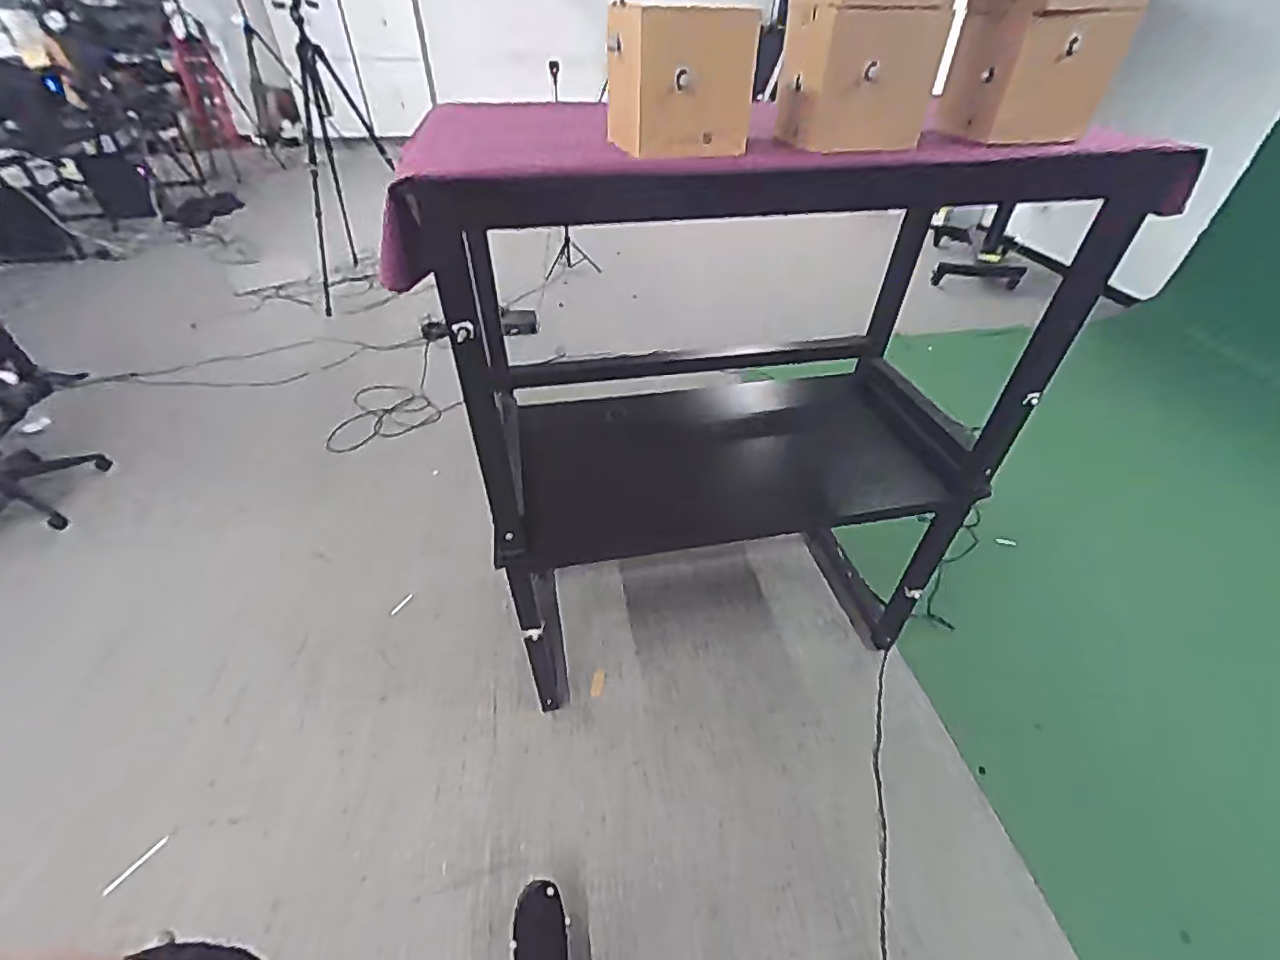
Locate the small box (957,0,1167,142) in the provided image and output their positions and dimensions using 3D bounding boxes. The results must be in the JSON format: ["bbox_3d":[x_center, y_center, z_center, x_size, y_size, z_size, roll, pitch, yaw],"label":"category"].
[{"bbox_3d":[0.633,-0.640,0.847,0.179,0.176,0.168,-3,42,-5],"label":"small box"}]

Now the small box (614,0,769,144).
[{"bbox_3d":[0.063,-0.579,0.755,0.168,0.176,0.179,-9,42,-12],"label":"small box"}]

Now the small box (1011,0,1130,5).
[{"bbox_3d":[0.635,-0.761,0.736,0.179,0.176,0.168,-9,43,-9],"label":"small box"}]

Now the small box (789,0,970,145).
[{"bbox_3d":[0.331,-0.602,0.792,0.179,0.176,0.168,-5,43,-7],"label":"small box"}]
